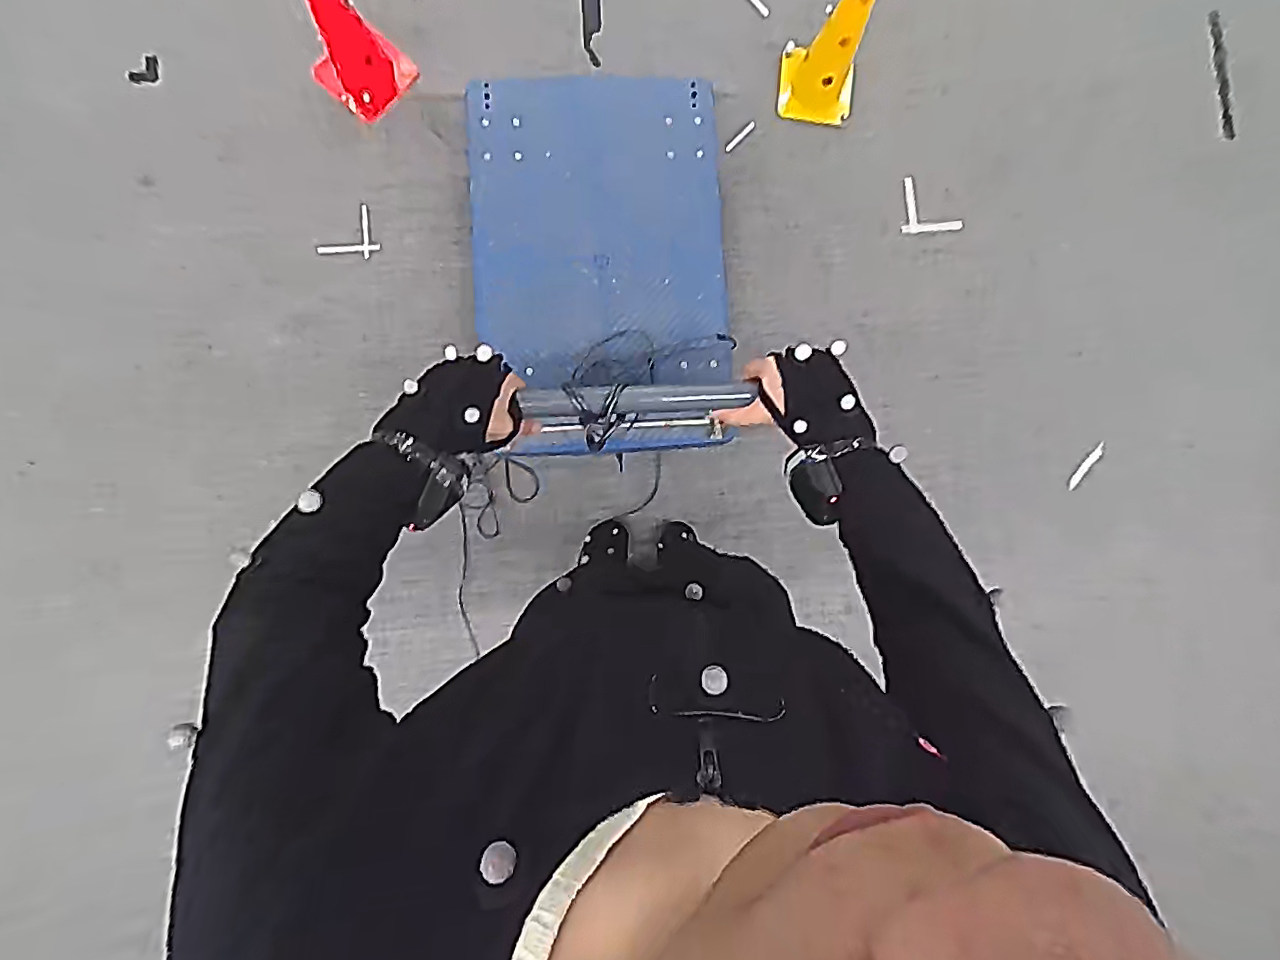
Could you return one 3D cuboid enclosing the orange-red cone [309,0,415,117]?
[{"bbox_3d":[-0.687,-1.055,1.207,0.198,0.360,0.199,42,84,-3],"label":"orange-red cone"}]
